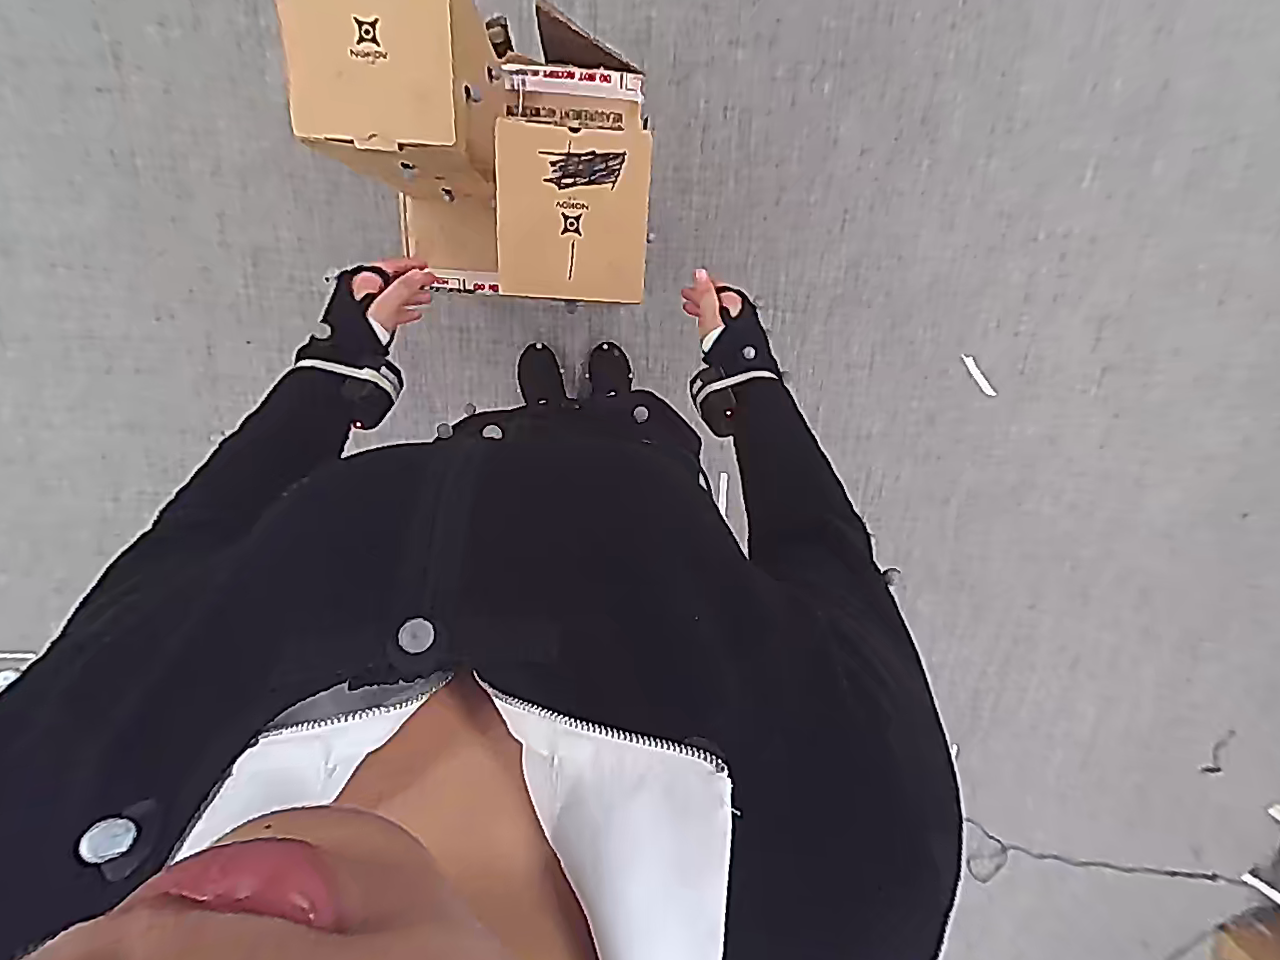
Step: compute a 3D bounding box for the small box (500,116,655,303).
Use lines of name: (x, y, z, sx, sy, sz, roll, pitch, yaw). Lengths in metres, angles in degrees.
small box: (-0.076, -0.316, 0.667, 0.168, 0.176, 0.179, 2, 109, -4)

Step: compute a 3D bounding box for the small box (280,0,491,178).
small box: (-0.268, -0.454, 0.608, 0.168, 0.176, 0.179, 2, 108, -3)

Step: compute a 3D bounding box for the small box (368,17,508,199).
small box: (-0.282, -0.513, 0.761, 0.168, 0.176, 0.179, 0, 108, -3)
